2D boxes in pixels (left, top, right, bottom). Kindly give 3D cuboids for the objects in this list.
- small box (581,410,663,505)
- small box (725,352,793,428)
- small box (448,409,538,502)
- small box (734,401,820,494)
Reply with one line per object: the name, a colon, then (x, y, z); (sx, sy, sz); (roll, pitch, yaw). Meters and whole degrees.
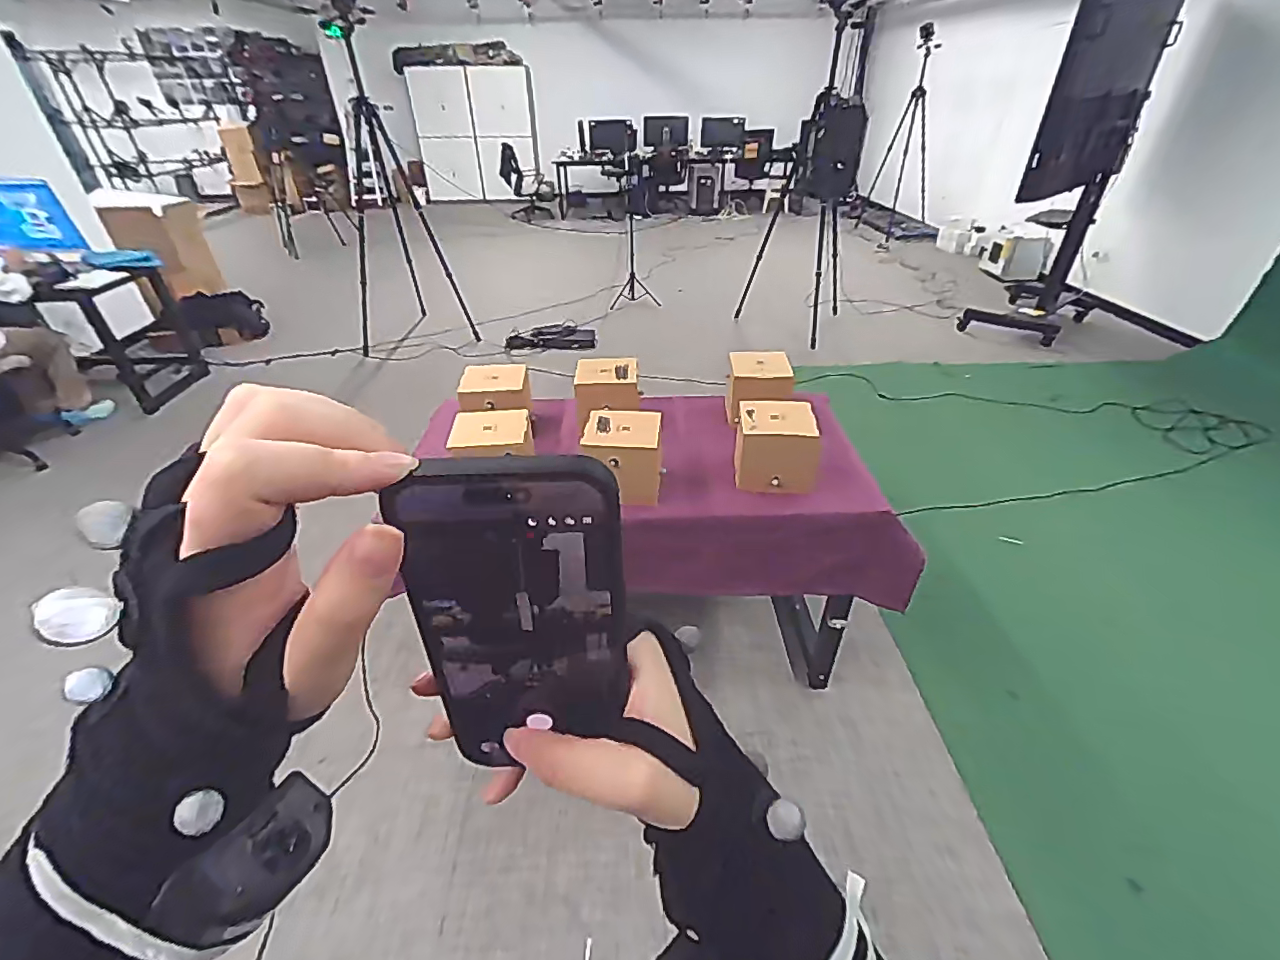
small box: (-0.038, -0.055, 1.310); (0.179, 0.176, 0.168); (3, 36, 4)
small box: (0.344, -0.264, 1.593); (0.168, 0.176, 0.179); (1, 37, 3)
small box: (-0.351, -0.058, 1.321); (0.179, 0.176, 0.168); (-3, 35, -6)
small box: (0.331, -0.080, 1.339); (0.179, 0.176, 0.168); (4, 36, 5)
